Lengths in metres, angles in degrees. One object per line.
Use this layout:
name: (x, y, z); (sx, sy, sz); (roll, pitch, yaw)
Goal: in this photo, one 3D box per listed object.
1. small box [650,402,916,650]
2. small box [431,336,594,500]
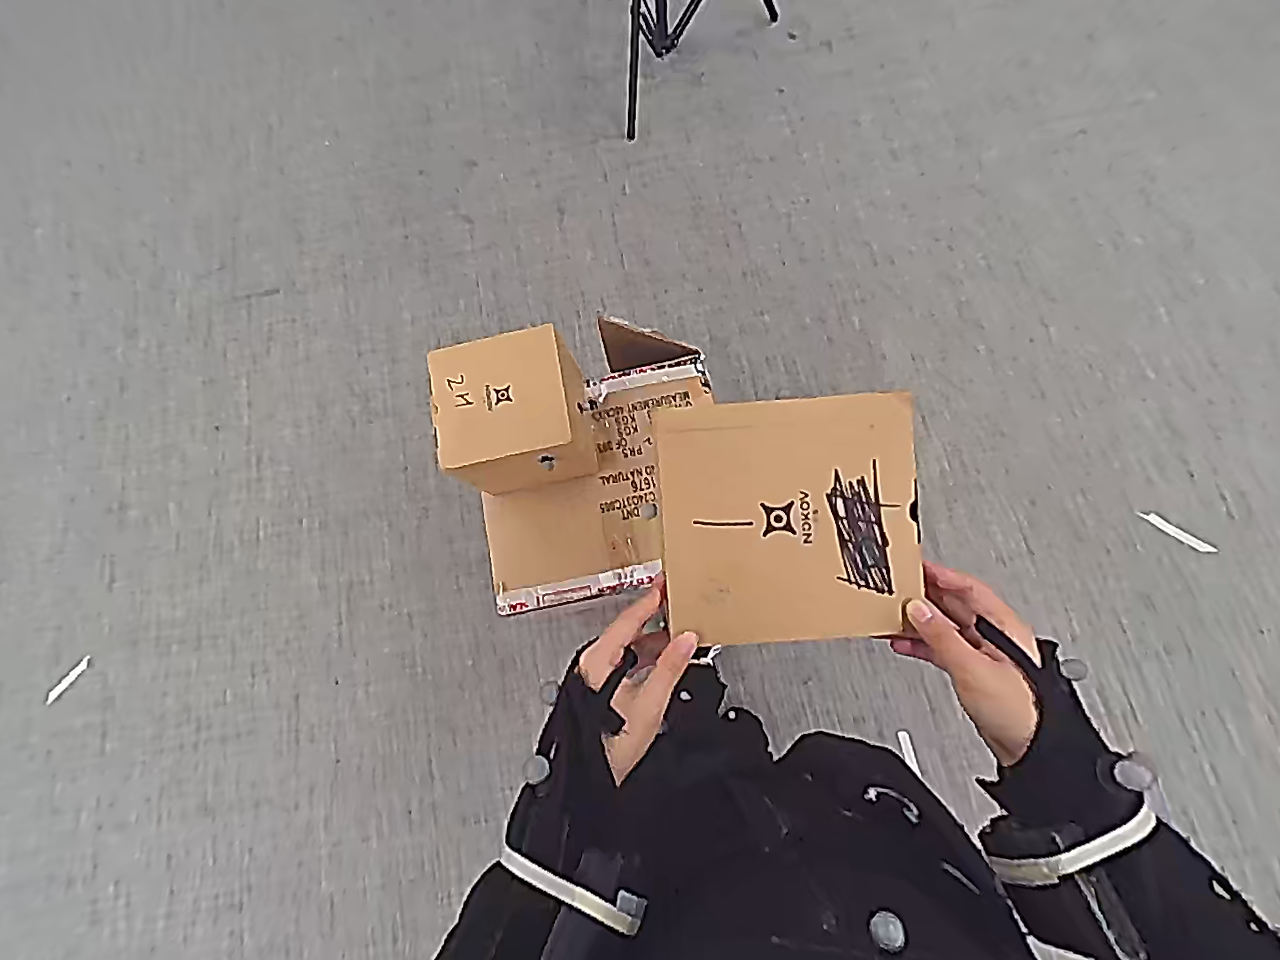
small box: (0.100, 0.032, 0.454); (0.179, 0.176, 0.168); (-4, 89, 2)
small box: (-0.169, -0.078, 0.769); (0.179, 0.176, 0.168); (-12, 76, 5)
